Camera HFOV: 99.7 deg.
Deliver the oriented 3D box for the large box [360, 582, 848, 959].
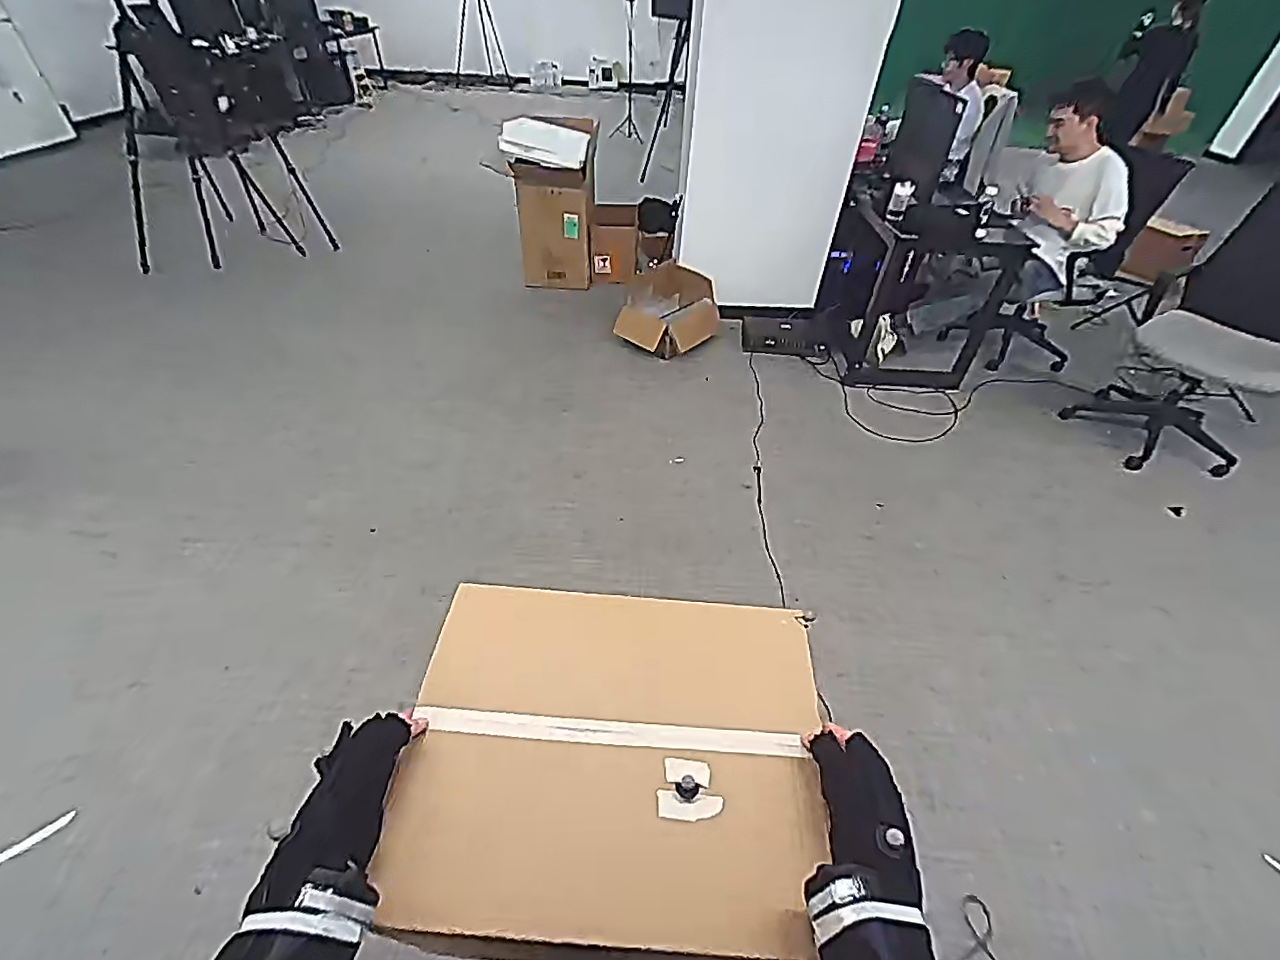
[{"bbox_3d":[-0.031,0.349,0.640,0.408,0.320,0.320,5,45,0],"label":"large box"}]
